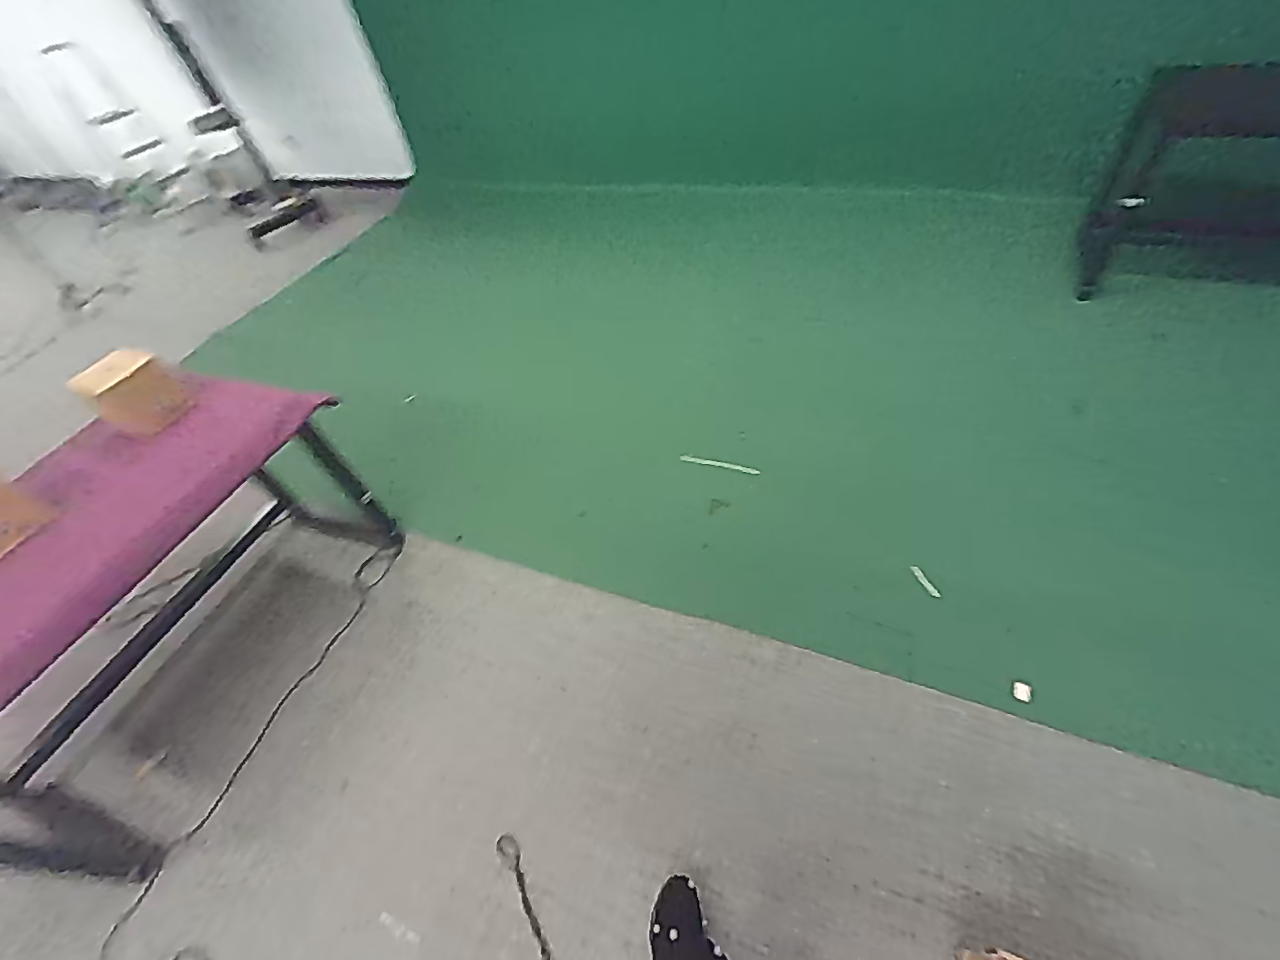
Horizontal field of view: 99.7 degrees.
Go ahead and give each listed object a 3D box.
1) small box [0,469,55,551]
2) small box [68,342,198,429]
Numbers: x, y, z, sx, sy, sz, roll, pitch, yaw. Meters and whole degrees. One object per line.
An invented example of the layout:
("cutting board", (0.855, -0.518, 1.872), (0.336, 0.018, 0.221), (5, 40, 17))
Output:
("small box", (-1.599, 0.060, 1.296), (0.179, 0.176, 0.168), (13, 53, 19))
("small box", (-1.435, -0.267, 1.542), (0.179, 0.176, 0.168), (14, 55, 20))
